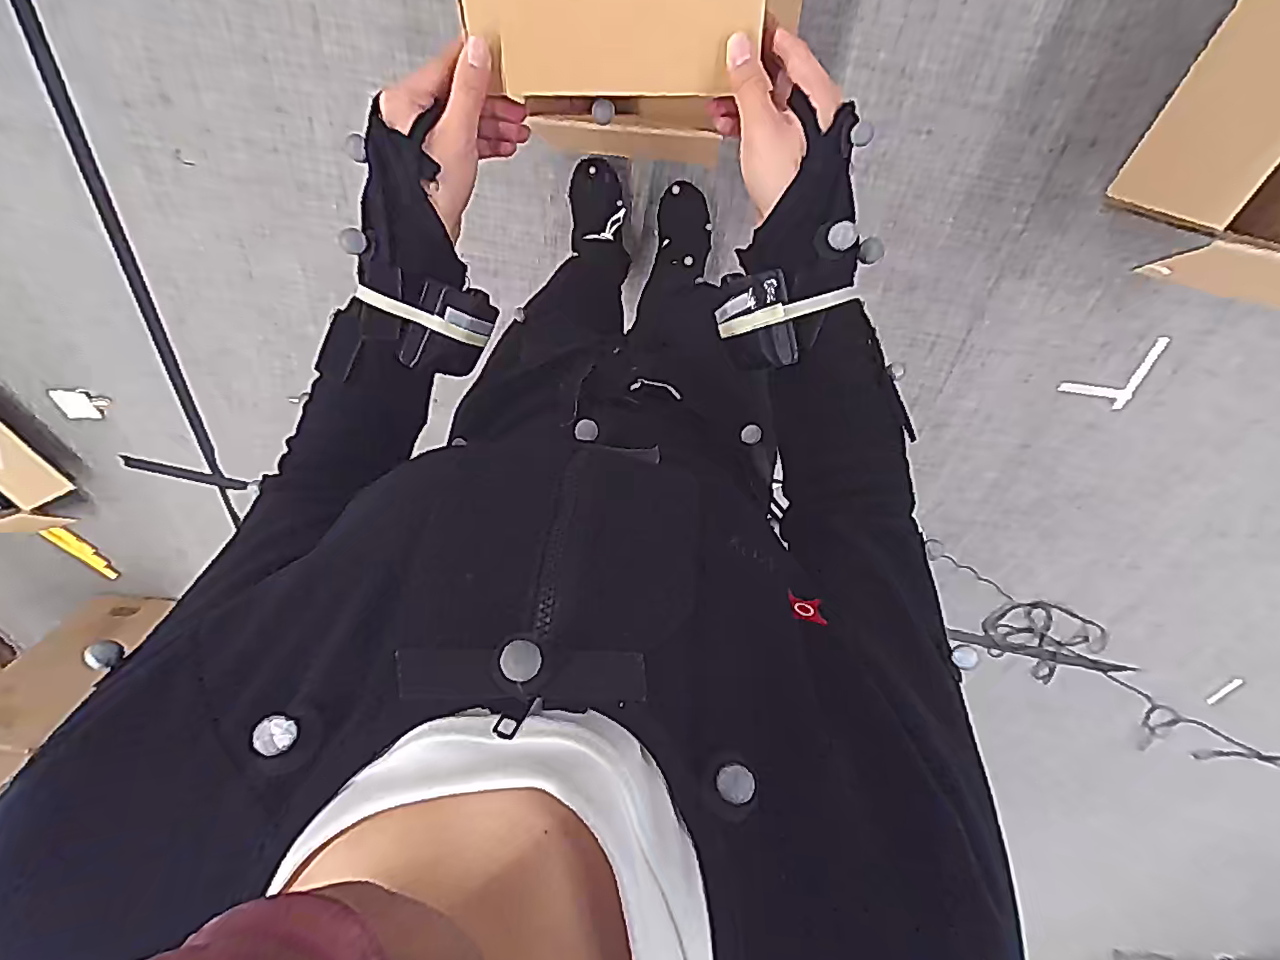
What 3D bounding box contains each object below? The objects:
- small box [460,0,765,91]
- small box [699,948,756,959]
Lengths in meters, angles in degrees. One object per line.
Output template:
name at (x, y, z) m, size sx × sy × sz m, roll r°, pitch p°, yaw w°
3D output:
small box at (-0.015, -0.354, 0.341) m, size 0.179 × 0.176 × 0.168 m, roll 1°, pitch 129°, yaw 0°
small box at (0.260, 1.529, 1.600) m, size 0.168 × 0.176 × 0.179 m, roll 12°, pitch 126°, yaw 1°
